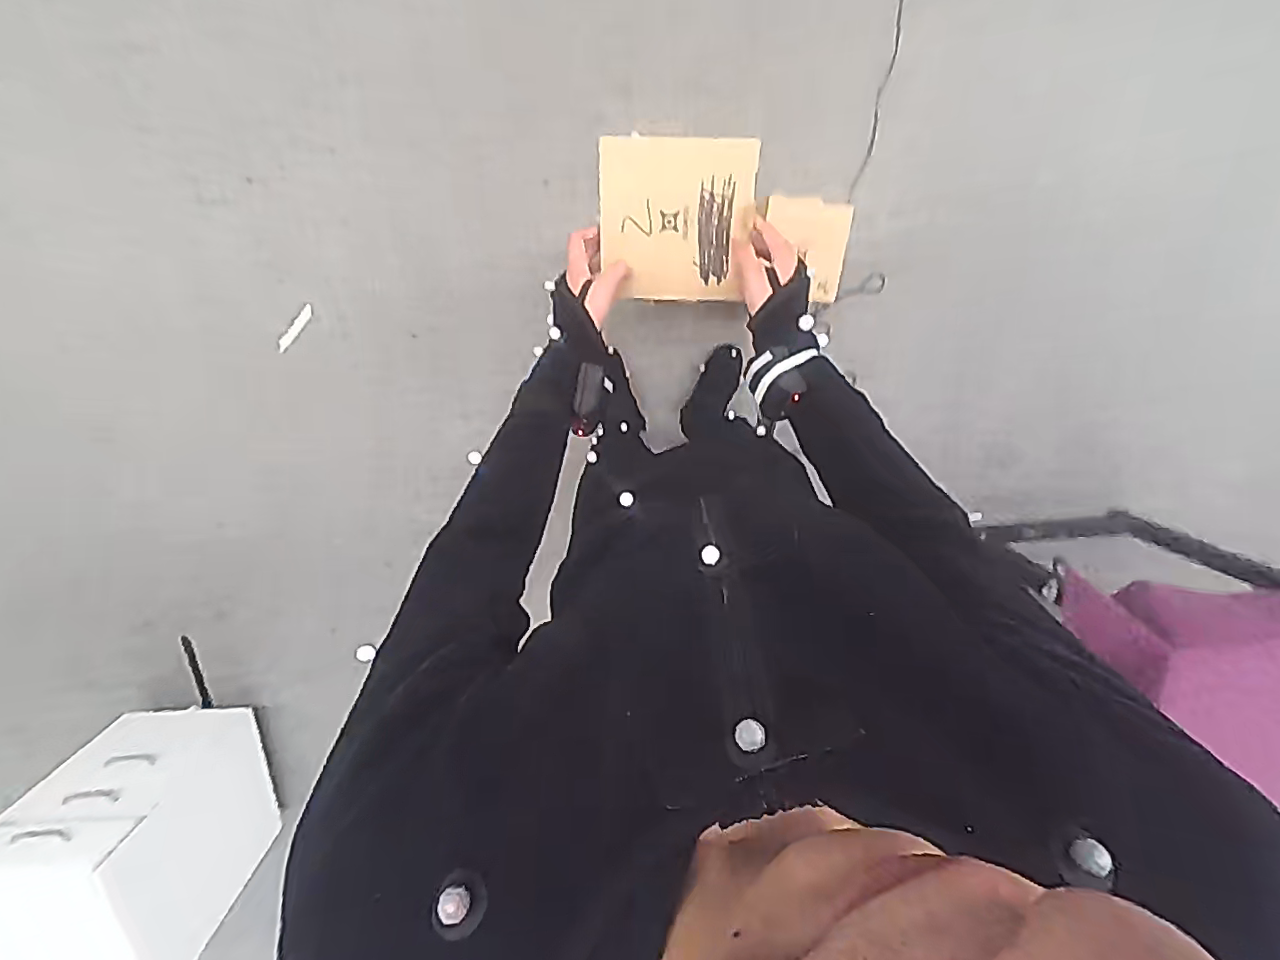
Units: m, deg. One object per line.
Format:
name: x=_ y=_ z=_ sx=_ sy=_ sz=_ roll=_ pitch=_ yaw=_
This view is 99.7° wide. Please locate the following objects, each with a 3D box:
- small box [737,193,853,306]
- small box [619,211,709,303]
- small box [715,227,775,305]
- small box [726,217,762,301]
small box: x=0.306 y=-0.460 z=1.105 sx=0.168 sy=0.176 sz=0.179 roll=6 pitch=105 yaw=-4
small box: x=0.048 y=-0.505 z=1.245 sx=0.179 sy=0.176 sz=0.168 roll=6 pitch=106 yaw=-4
small box: x=0.292 y=-0.555 z=1.416 sx=0.168 sy=0.176 sz=0.179 roll=-2 pitch=107 yaw=-2
small box: x=0.301 y=-0.508 z=1.262 sx=0.179 sy=0.176 sz=0.168 roll=-1 pitch=106 yaw=-2
